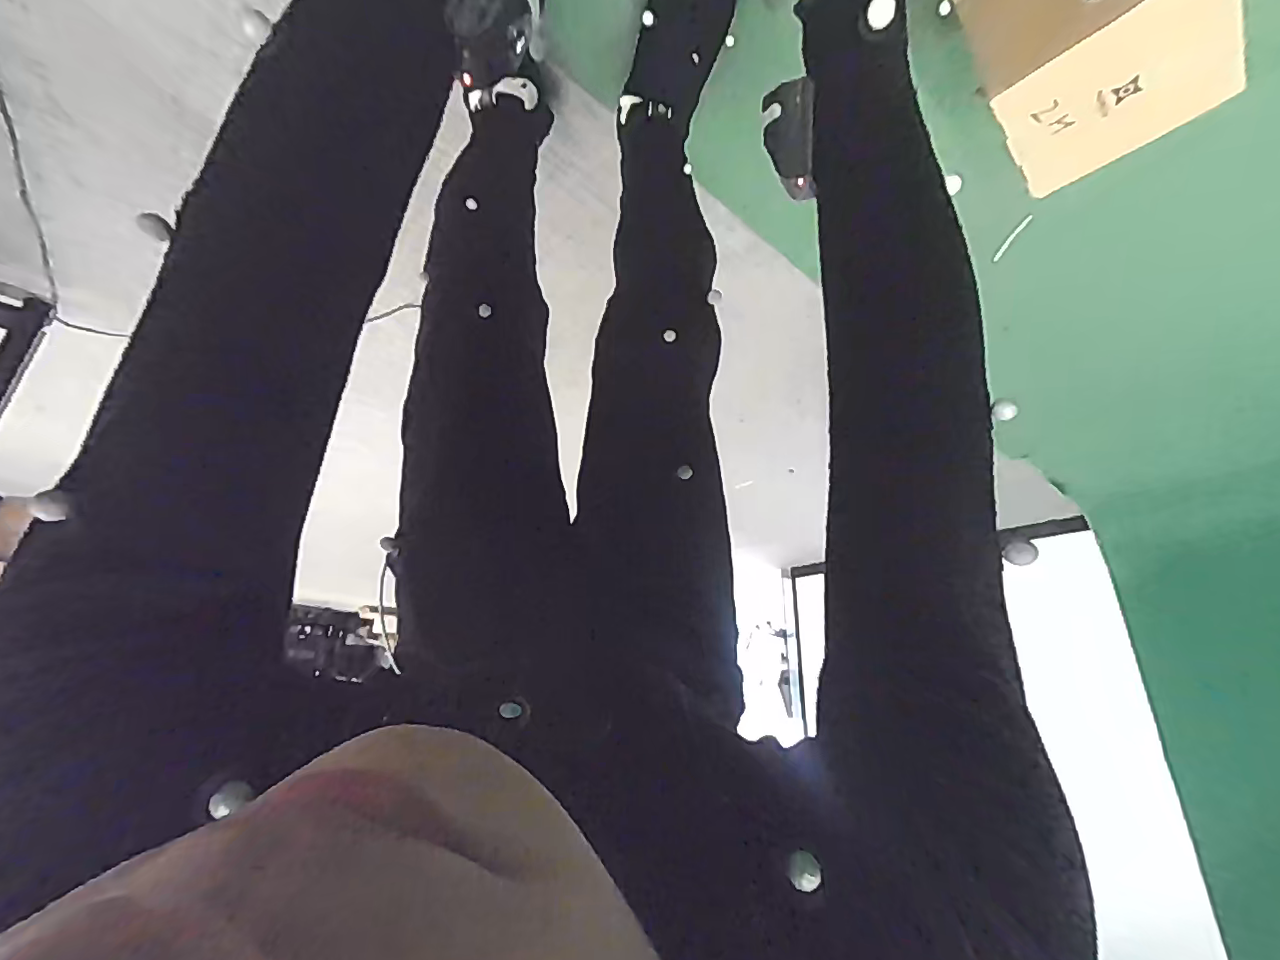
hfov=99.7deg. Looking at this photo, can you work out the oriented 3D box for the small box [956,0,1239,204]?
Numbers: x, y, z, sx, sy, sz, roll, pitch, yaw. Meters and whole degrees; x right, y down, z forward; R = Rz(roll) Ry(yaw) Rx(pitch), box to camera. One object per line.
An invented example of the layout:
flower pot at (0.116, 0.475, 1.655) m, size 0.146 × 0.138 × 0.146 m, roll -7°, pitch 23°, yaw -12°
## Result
small box at (0.463, -0.445, 0.562) m, size 0.168 × 0.176 × 0.179 m, roll 21°, pitch 150°, yaw -39°
